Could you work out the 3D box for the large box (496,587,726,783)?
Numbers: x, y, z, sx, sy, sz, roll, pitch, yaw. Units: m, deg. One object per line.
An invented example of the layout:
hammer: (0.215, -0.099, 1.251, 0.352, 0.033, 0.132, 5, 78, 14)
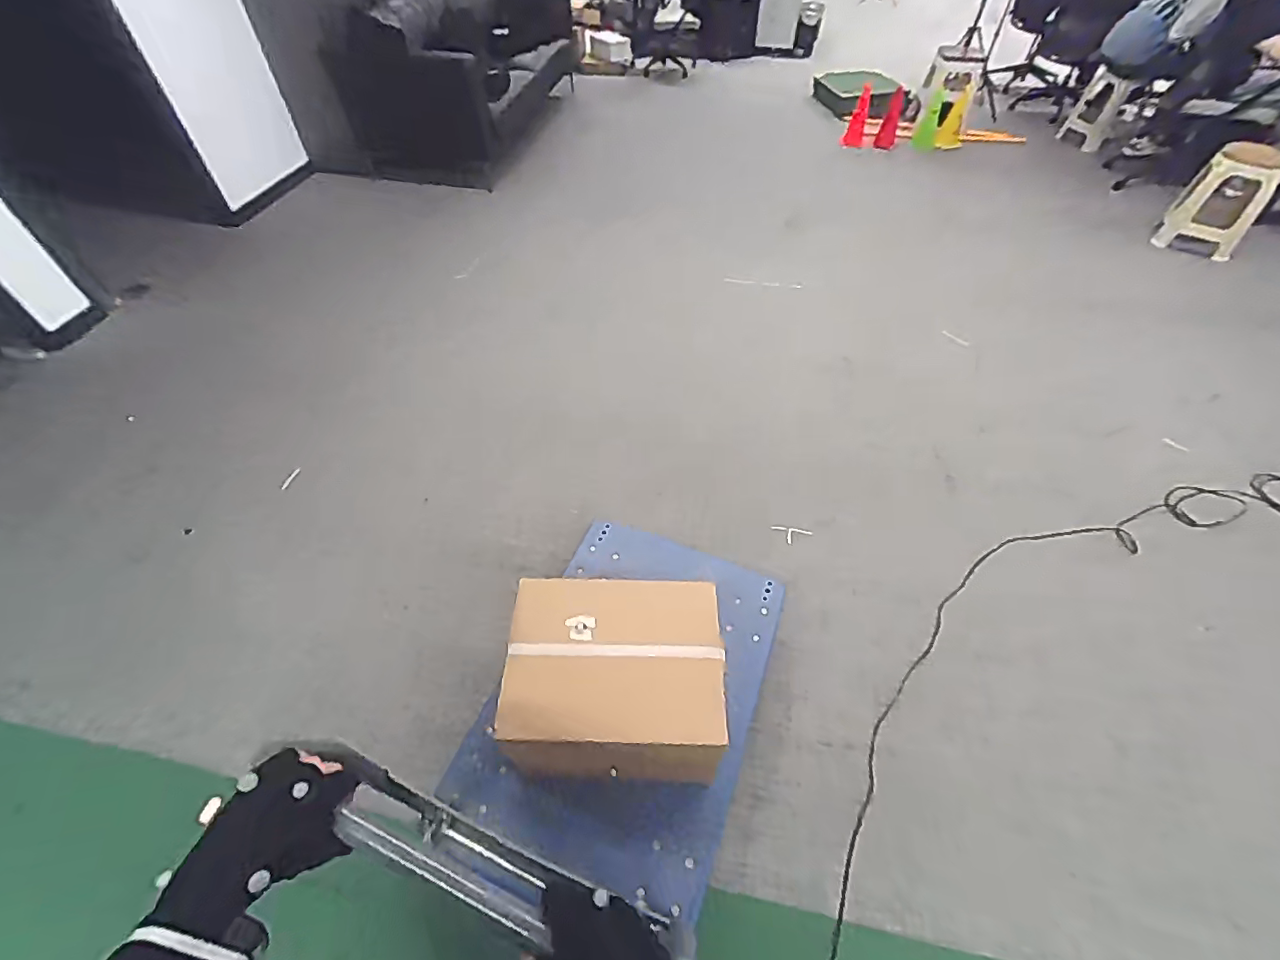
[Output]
large box: (-0.045, 0.436, 1.132, 0.408, 0.320, 0.320, 0, 49, 2)
